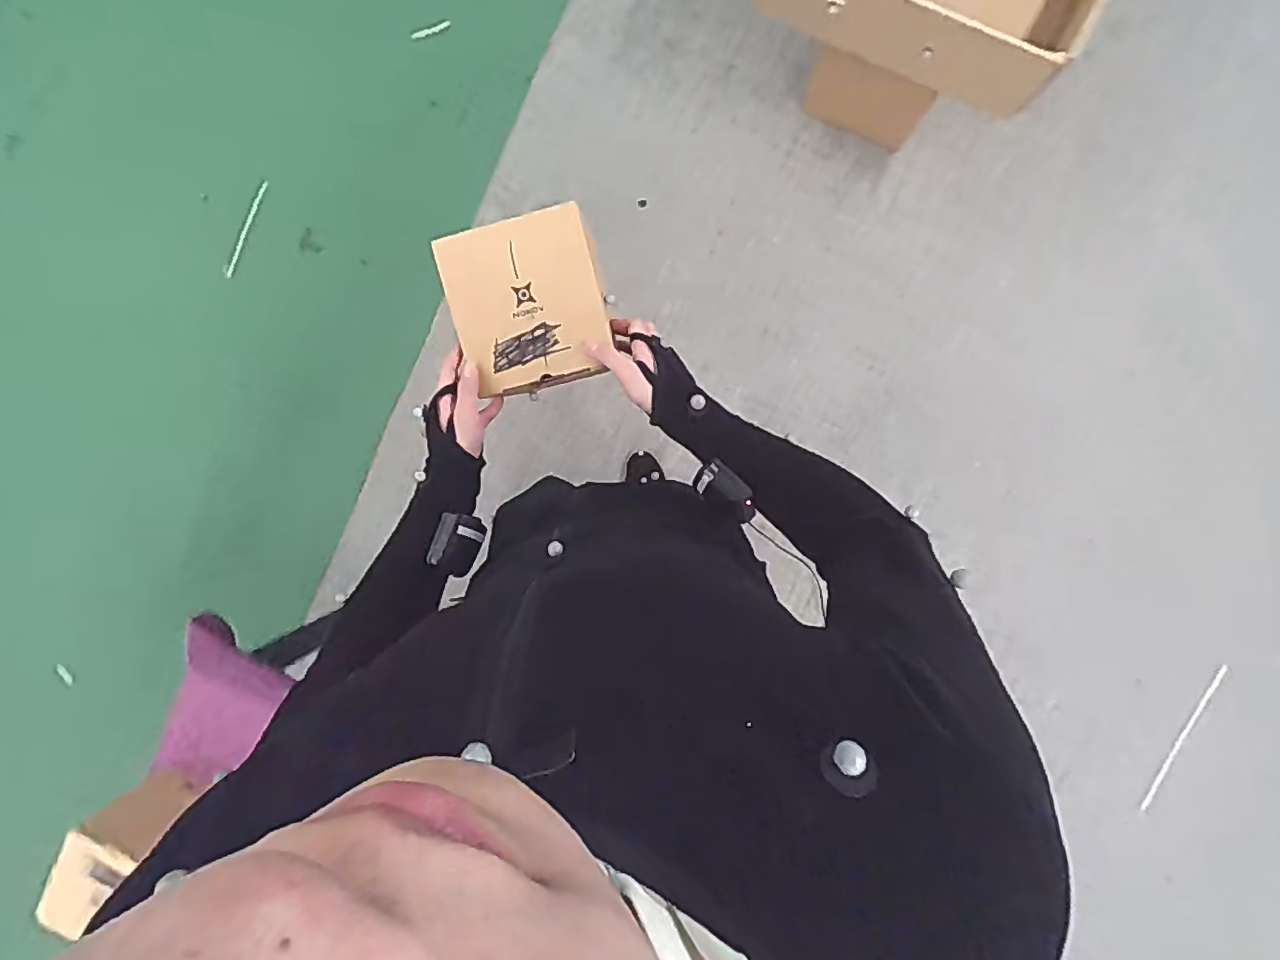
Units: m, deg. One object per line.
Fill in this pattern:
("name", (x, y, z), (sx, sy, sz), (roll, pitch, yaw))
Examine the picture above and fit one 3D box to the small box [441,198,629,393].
("small box", (-0.113, -0.211, 0.664), (0.168, 0.176, 0.179), (-13, 99, 4))
